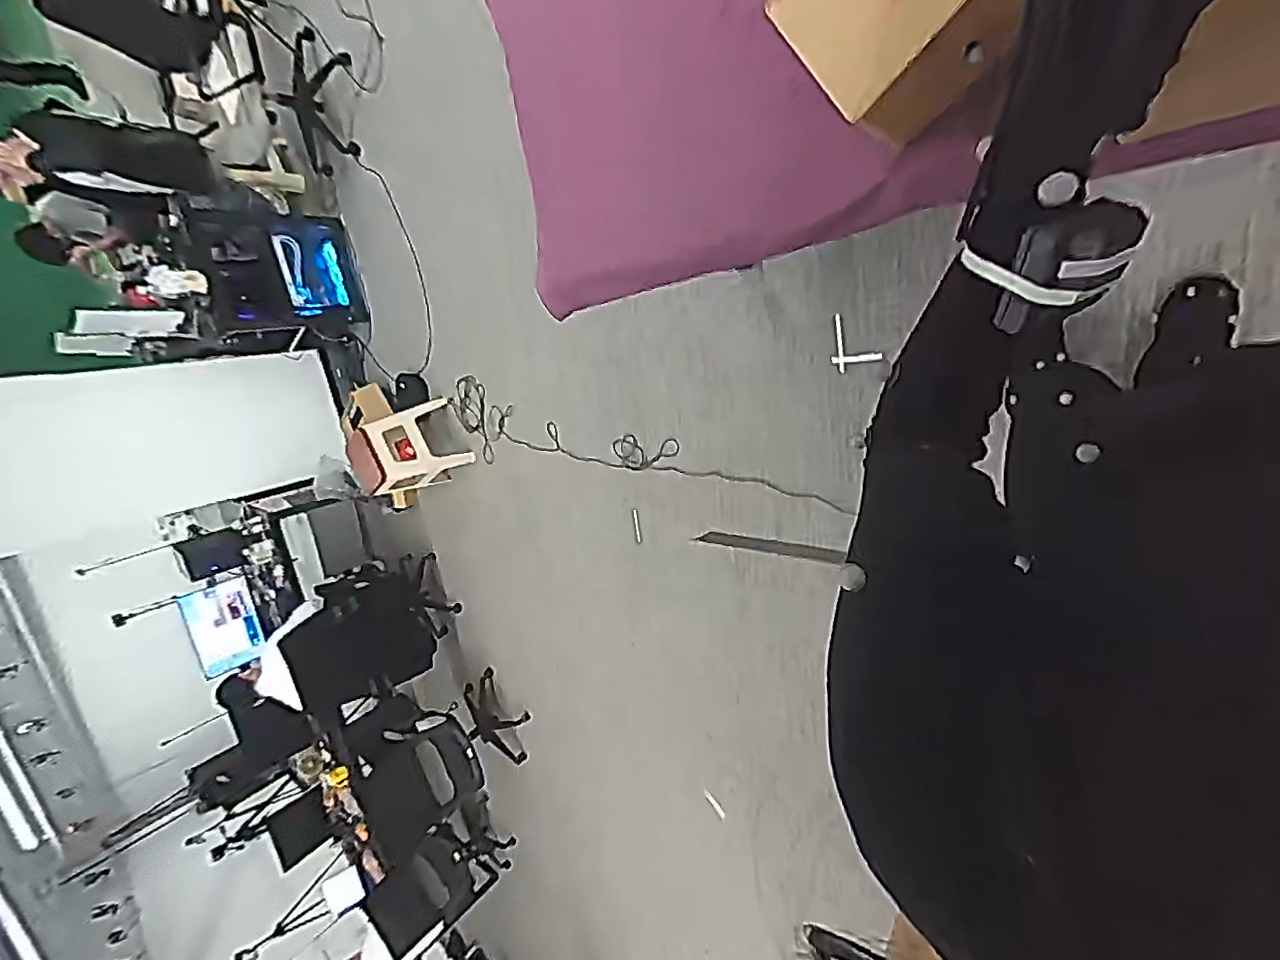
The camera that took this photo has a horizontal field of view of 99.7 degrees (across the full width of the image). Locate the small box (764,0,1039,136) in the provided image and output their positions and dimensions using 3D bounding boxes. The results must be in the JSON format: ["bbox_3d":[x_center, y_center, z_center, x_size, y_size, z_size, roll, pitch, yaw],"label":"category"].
[{"bbox_3d":[0.261,-0.485,0.533,0.179,0.176,0.168,-39,78,45],"label":"small box"}]

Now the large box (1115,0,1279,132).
[{"bbox_3d":[0.488,-0.433,0.248,0.408,0.320,0.320,4,107,42],"label":"large box"}]
